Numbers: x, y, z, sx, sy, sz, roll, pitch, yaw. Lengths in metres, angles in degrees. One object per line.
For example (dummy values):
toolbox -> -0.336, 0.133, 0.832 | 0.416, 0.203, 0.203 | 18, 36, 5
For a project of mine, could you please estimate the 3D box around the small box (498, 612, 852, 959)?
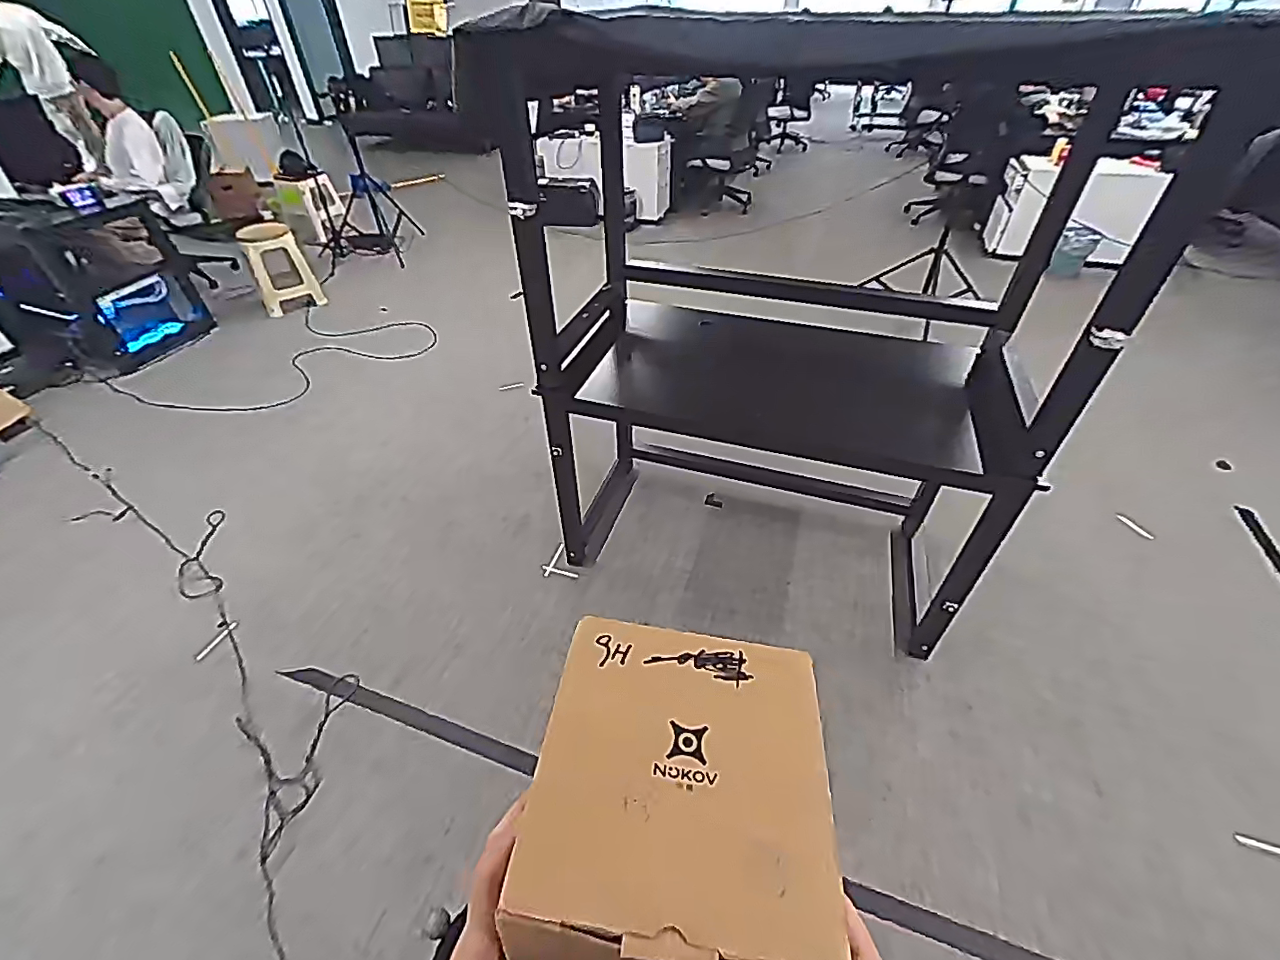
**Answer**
small box -> 0.022, 0.219, 0.356 | 0.168, 0.176, 0.179 | 9, 39, 4
